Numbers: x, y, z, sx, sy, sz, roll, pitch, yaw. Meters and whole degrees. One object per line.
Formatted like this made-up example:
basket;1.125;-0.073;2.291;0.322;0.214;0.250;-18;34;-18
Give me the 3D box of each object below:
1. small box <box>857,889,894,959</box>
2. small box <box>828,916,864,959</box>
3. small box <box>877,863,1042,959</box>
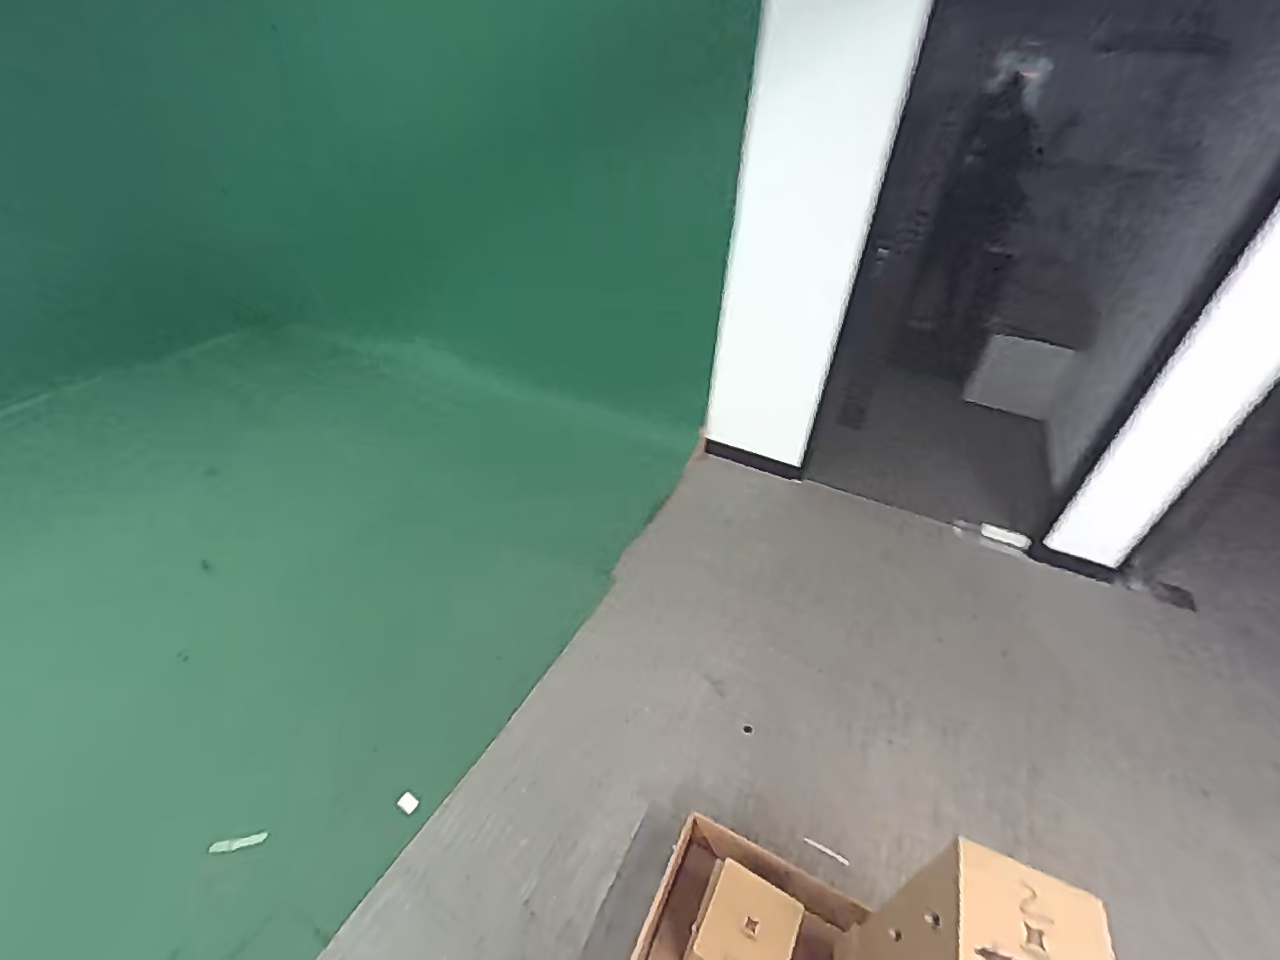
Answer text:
small box;0.462;0.836;0.891;0.168;0.176;0.179;19;41;20
small box;0.443;0.975;1.008;0.168;0.176;0.179;15;40;18
small box;0.462;0.724;0.796;0.168;0.176;0.179;20;41;20
